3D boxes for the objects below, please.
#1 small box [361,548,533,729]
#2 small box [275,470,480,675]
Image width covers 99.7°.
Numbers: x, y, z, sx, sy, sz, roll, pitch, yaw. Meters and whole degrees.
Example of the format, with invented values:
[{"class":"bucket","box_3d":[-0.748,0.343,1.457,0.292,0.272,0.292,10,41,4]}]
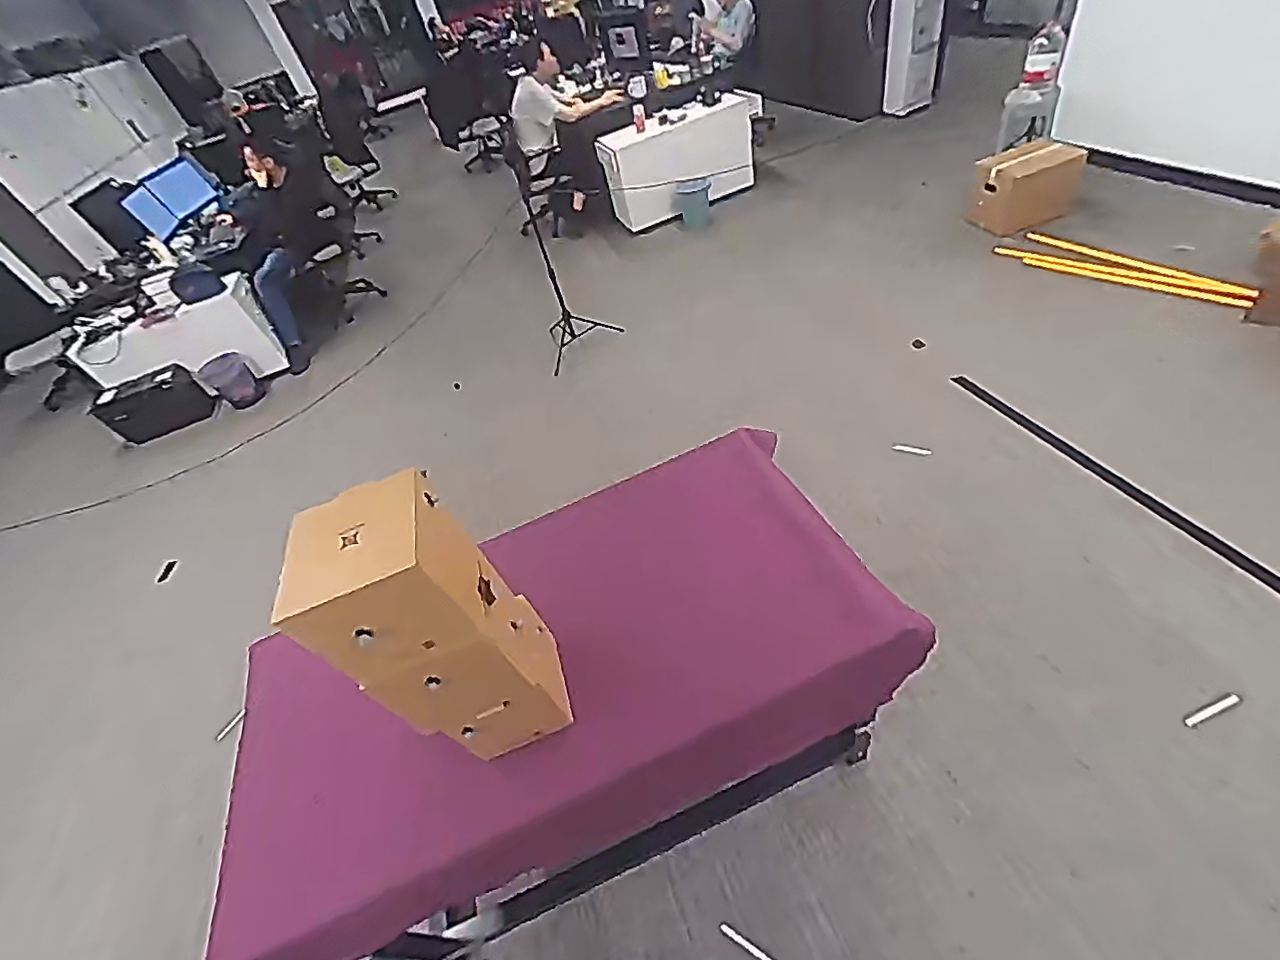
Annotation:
[{"class":"small box","box_3d":[-0.280,0.239,0.803,0.179,0.176,0.168,-22,45,-4]},{"class":"small box","box_3d":[-0.320,0.125,0.694,0.168,0.176,0.179,-23,44,-4]}]
